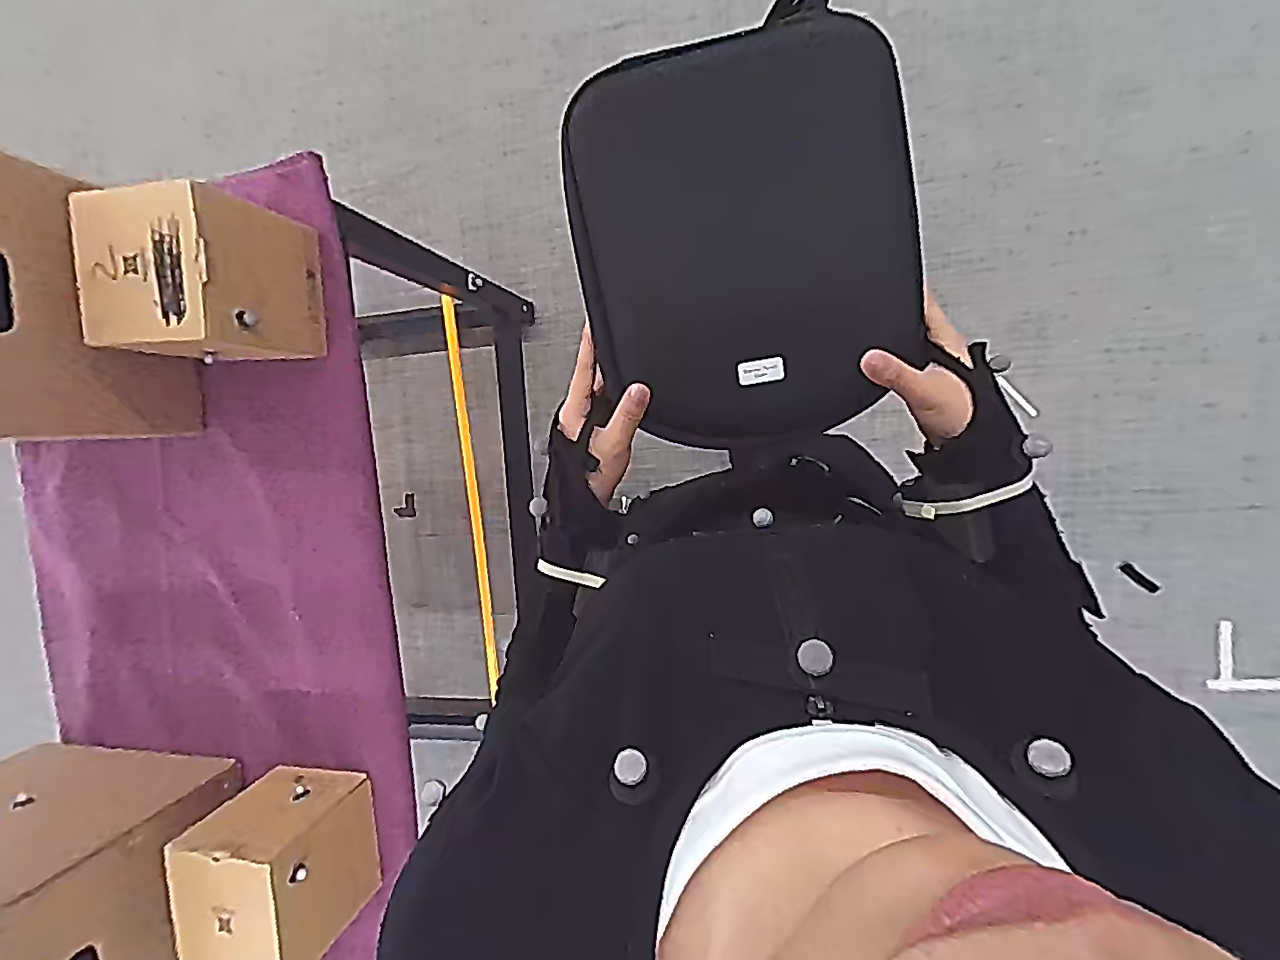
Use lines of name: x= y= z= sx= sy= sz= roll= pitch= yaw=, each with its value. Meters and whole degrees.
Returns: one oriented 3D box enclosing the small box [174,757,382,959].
small box: x=-0.484 y=0.520 z=0.747 sx=0.168 sy=0.176 sz=0.179 roll=-4 pitch=94 yaw=14
